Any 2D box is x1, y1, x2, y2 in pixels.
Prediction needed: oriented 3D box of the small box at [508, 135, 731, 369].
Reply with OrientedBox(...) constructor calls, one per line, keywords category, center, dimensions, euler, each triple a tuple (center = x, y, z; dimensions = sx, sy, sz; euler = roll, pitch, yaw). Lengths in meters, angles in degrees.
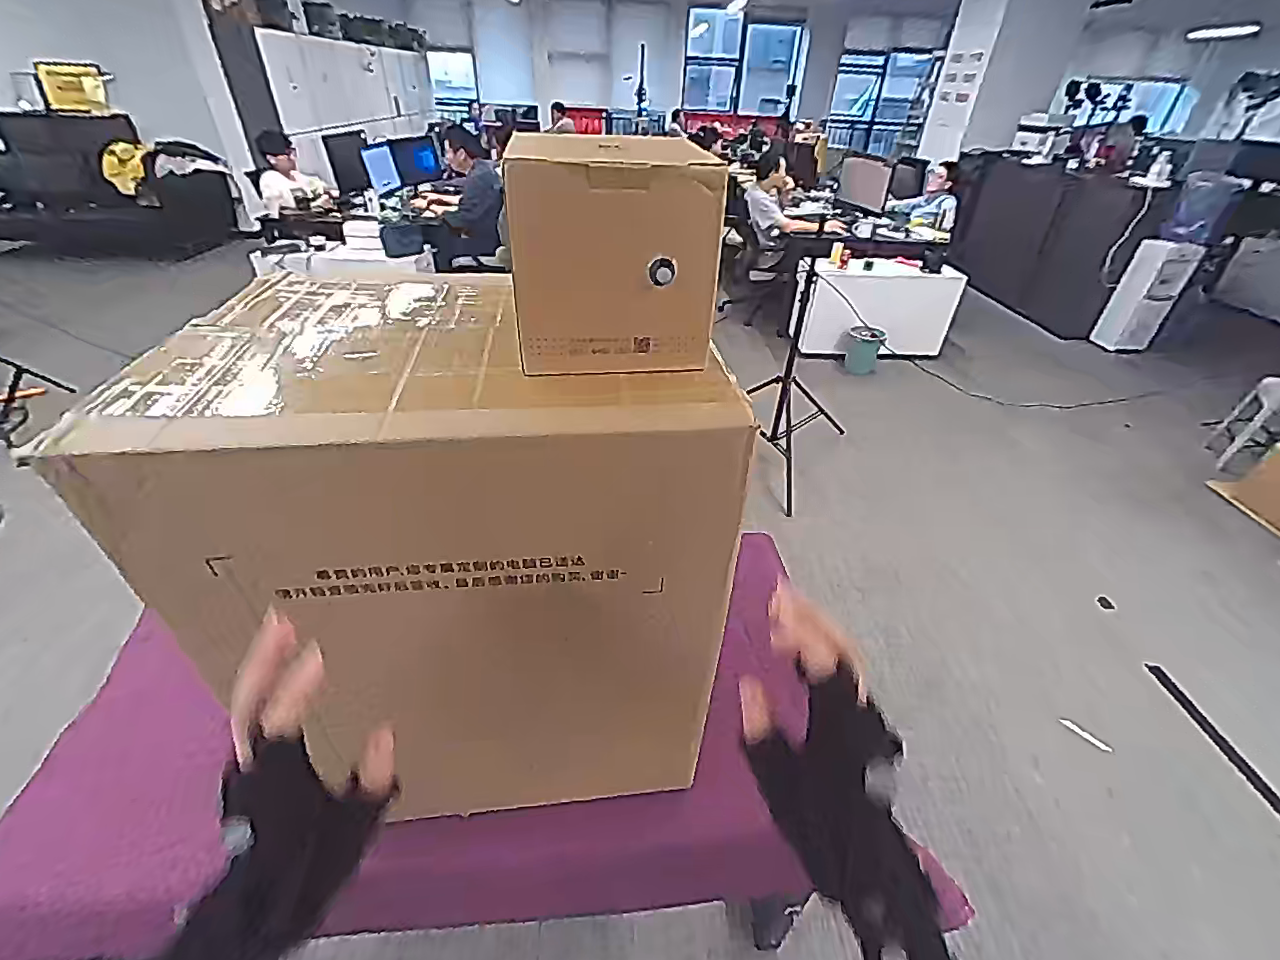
OrientedBox(category="small box", center=(-0.025, -0.211, 0.499), dimensions=(0.168, 0.176, 0.179), euler=(-2, 36, -8))
